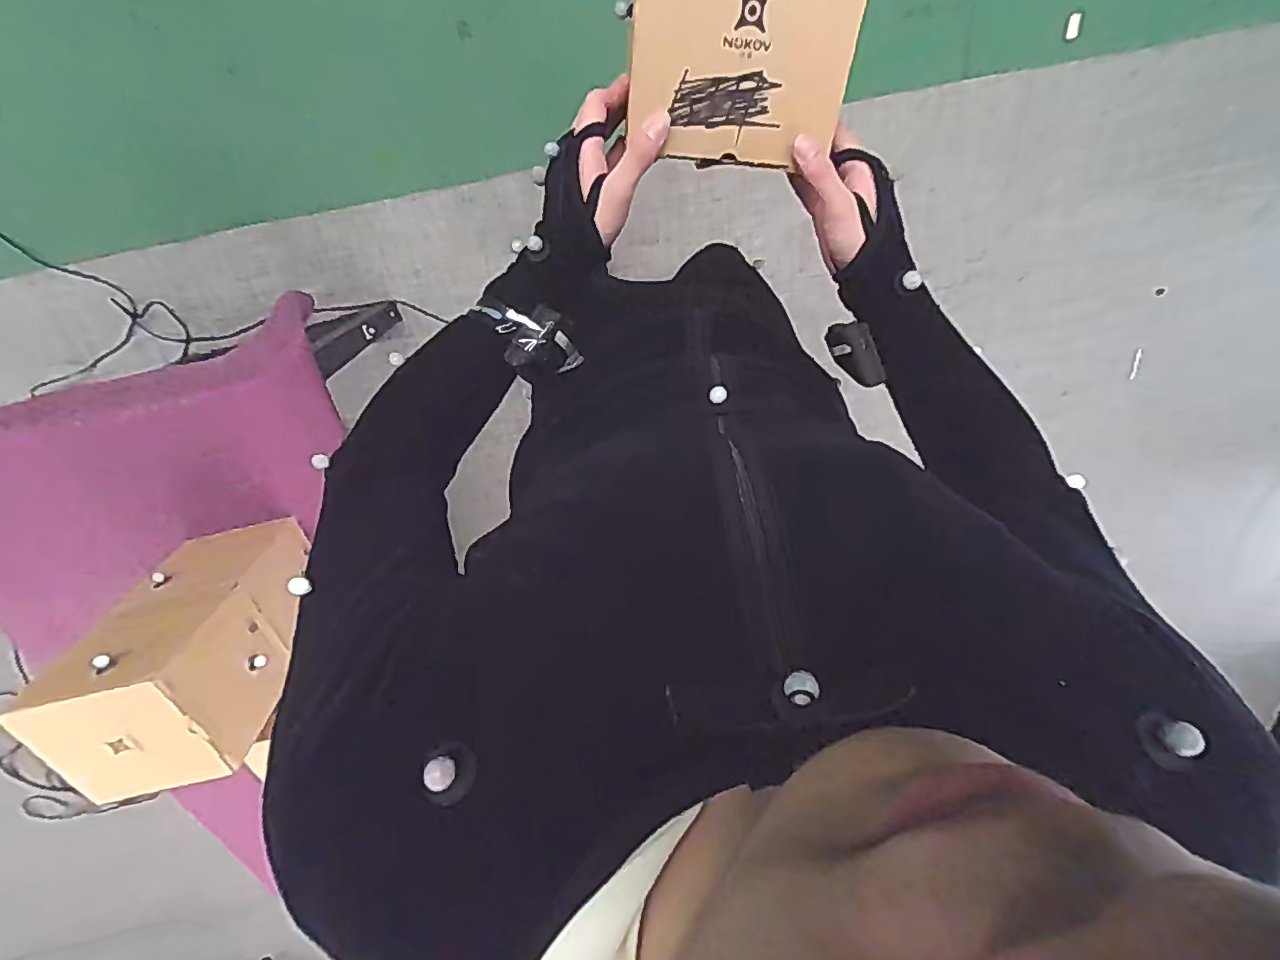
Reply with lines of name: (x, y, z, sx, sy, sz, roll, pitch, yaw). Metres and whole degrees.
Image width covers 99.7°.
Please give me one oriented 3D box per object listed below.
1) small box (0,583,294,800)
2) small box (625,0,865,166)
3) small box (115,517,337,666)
small box: (-0.587, 0.255, 0.677, 0.179, 0.176, 0.168, -13, 118, -1)
small box: (0.075, -0.379, 0.452, 0.168, 0.176, 0.179, 2, 125, -5)
small box: (-0.604, 0.178, 0.819, 0.179, 0.176, 0.168, -13, 119, -1)
